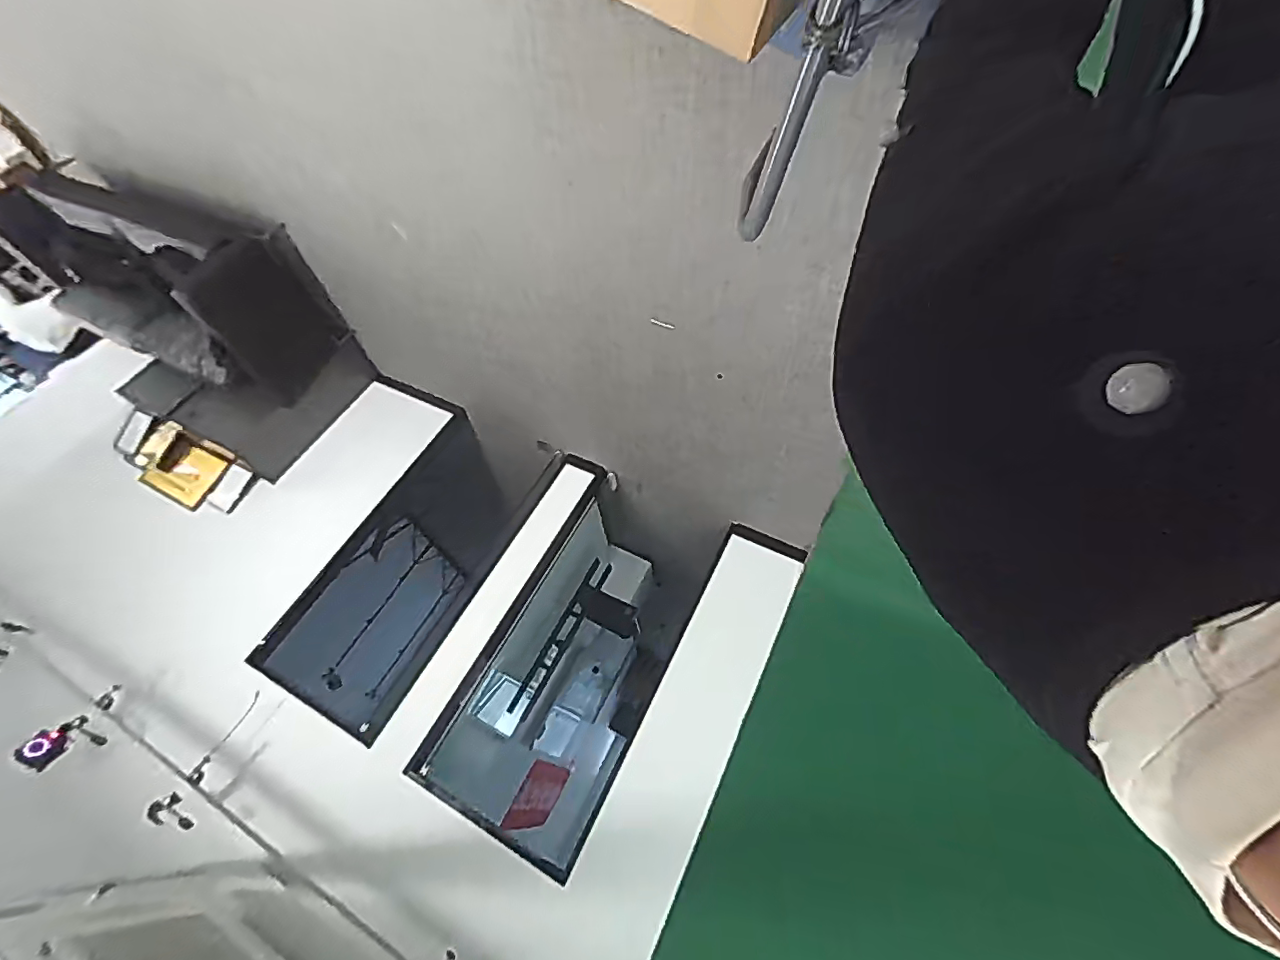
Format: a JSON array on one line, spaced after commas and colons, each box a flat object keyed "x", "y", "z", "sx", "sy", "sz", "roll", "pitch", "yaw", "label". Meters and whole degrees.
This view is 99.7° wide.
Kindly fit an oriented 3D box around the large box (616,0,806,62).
[{"x": 0.111, "y": -0.976, "z": 0.856, "sx": 0.408, "sy": 0.320, "sz": 0.320, "roll": 30, "pitch": 154, "yaw": 4, "label": "large box"}]
